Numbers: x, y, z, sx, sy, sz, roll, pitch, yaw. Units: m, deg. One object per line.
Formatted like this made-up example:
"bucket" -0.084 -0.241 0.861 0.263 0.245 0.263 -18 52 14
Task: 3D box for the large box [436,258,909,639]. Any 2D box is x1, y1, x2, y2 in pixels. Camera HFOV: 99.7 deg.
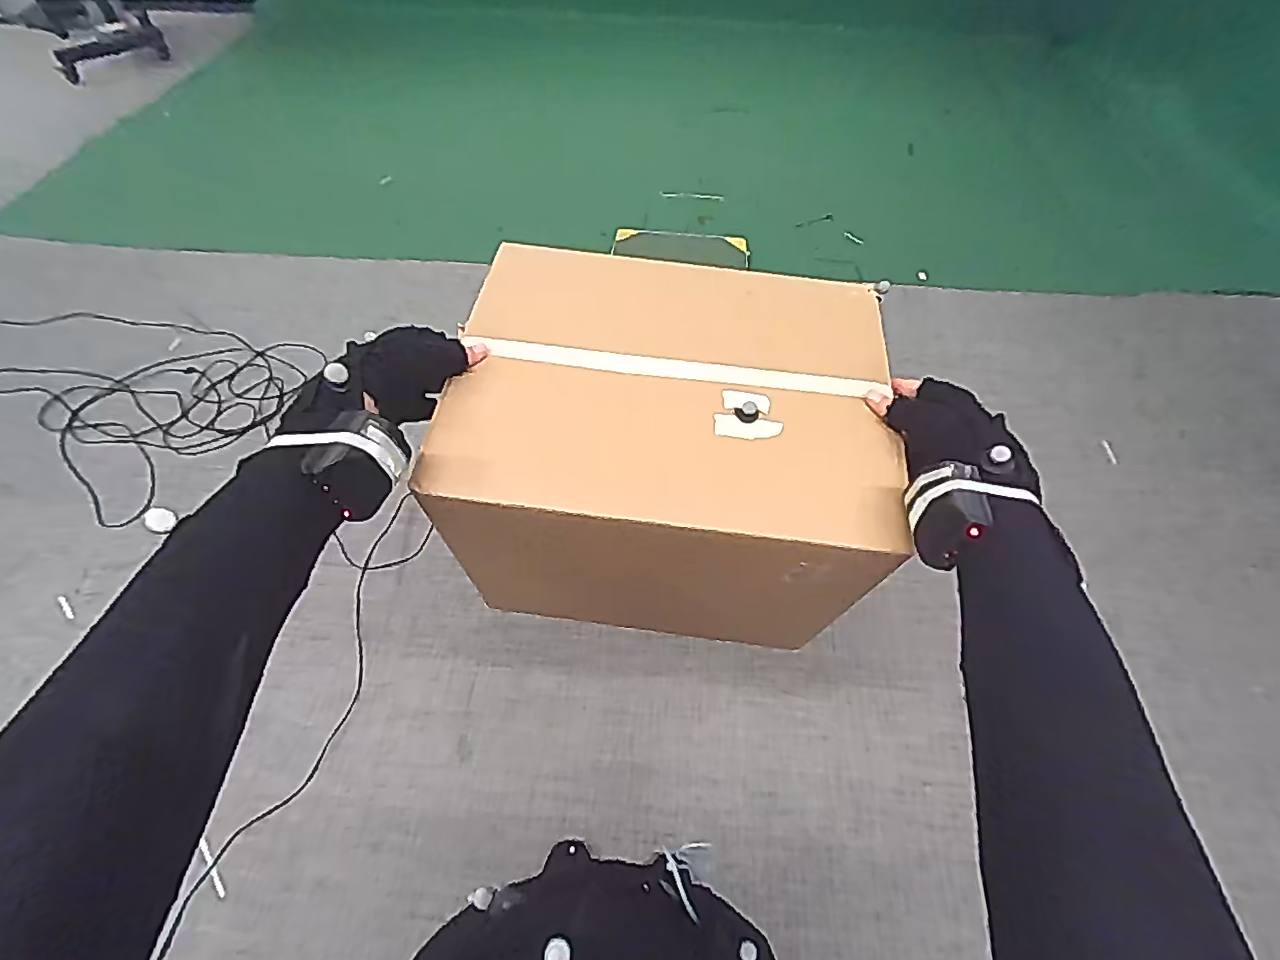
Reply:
"large box" 0.031 -0.019 0.646 0.408 0.320 0.320 7 60 0
